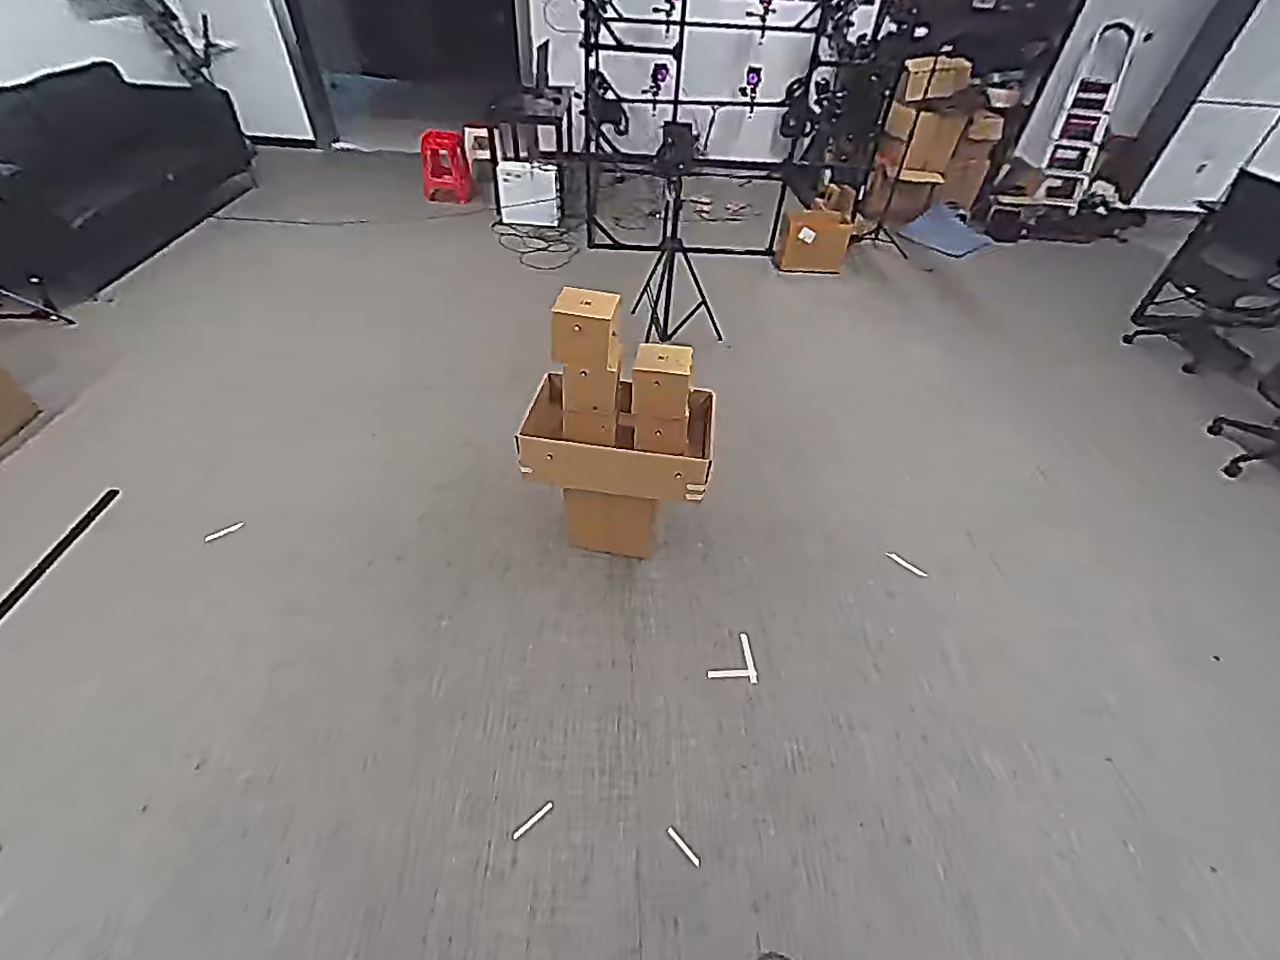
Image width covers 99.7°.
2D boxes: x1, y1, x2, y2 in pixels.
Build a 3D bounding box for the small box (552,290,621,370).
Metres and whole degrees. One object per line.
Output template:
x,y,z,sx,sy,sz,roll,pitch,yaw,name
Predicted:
-0.160,-0.448,1.626,0.179,0.176,0.168,8,43,2,small box
